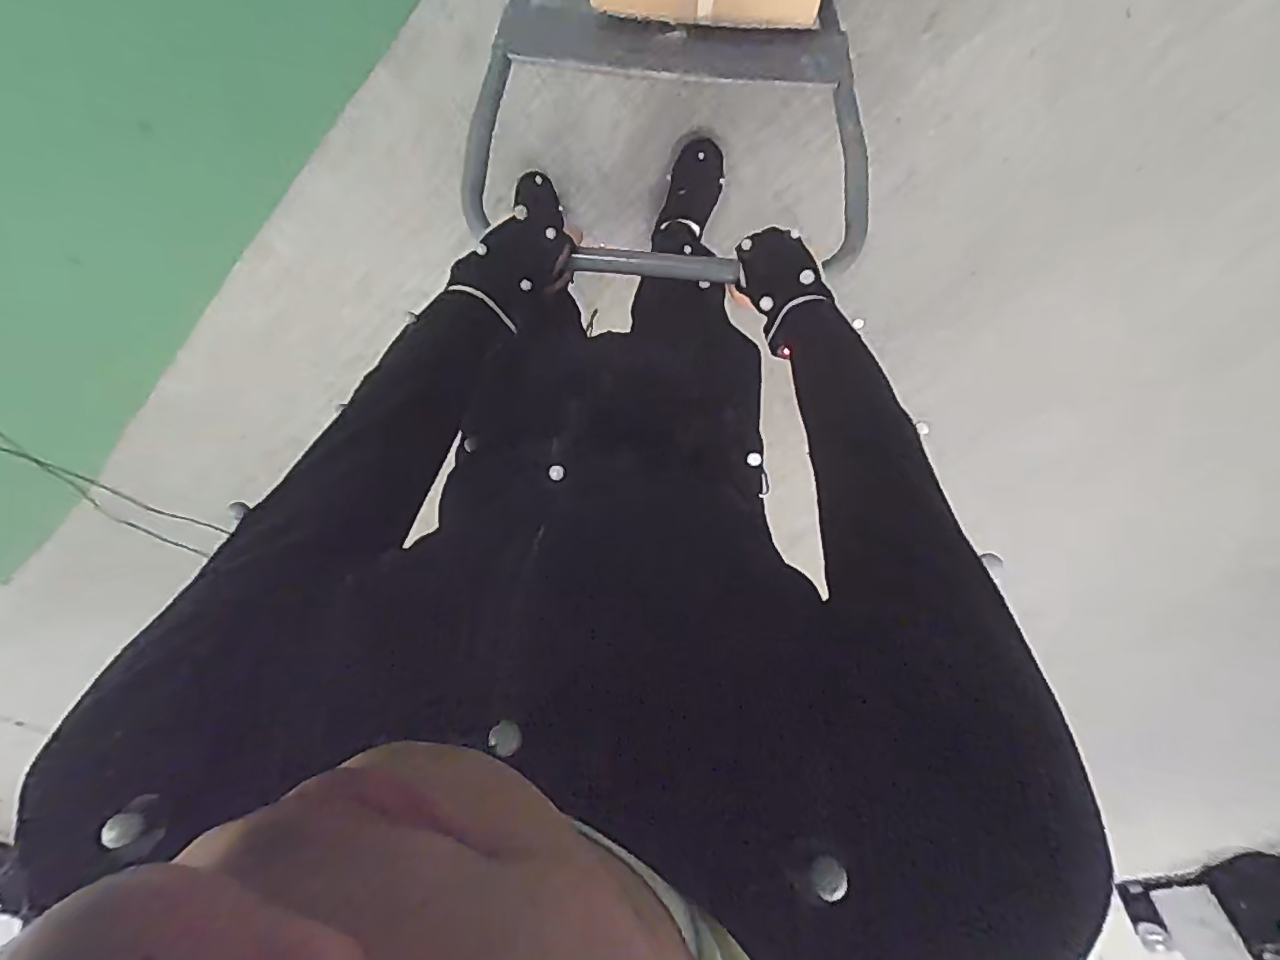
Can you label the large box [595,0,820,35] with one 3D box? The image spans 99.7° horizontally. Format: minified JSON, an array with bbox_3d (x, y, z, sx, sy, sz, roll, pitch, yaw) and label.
[{"bbox_3d":[0.108,-0.871,0.675,0.320,0.320,0.408,4,150,-1],"label":"large box"}]
